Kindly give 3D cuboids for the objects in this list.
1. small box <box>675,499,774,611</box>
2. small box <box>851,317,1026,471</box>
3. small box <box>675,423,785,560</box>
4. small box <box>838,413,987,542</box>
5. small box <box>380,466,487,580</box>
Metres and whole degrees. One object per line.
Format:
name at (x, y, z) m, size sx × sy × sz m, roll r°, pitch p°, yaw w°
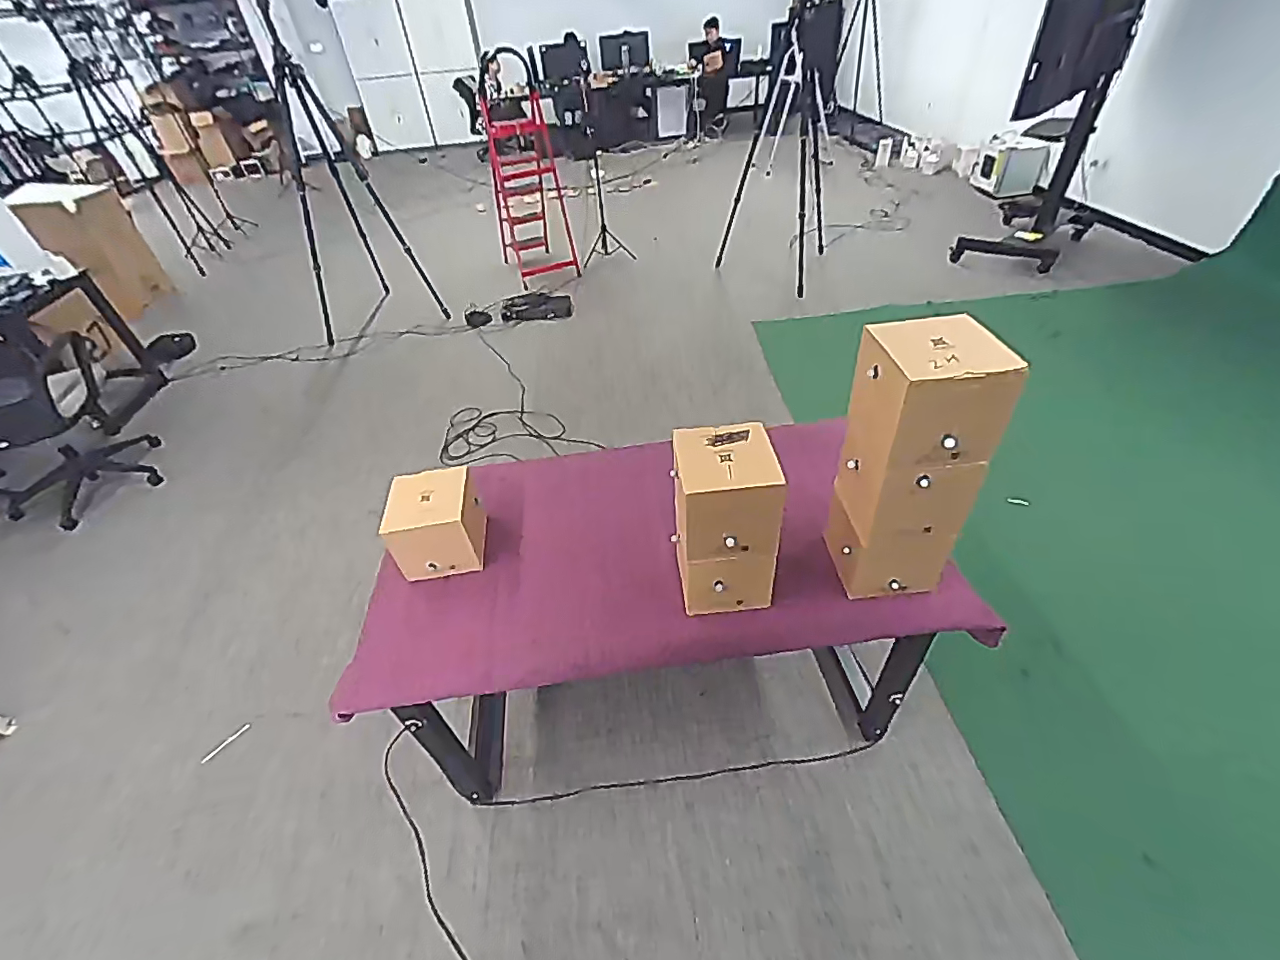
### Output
small box at (0.163, 0.145, 1.075) m, size 0.168 × 0.176 × 0.179 m, roll -6°, pitch 41°, yaw 0°
small box at (0.451, -0.136, 0.856) m, size 0.168 × 0.176 × 0.179 m, roll -6°, pitch 42°, yaw 2°
small box at (0.151, 0.021, 0.969) m, size 0.168 × 0.176 × 0.179 m, roll -6°, pitch 41°, yaw 1°
small box at (0.467, -0.011, 0.962) m, size 0.168 × 0.176 × 0.179 m, roll -6°, pitch 41°, yaw 2°
small box at (-0.445, 0.095, 1.199) m, size 0.168 × 0.176 × 0.179 m, roll -9°, pitch 43°, yaw -3°
